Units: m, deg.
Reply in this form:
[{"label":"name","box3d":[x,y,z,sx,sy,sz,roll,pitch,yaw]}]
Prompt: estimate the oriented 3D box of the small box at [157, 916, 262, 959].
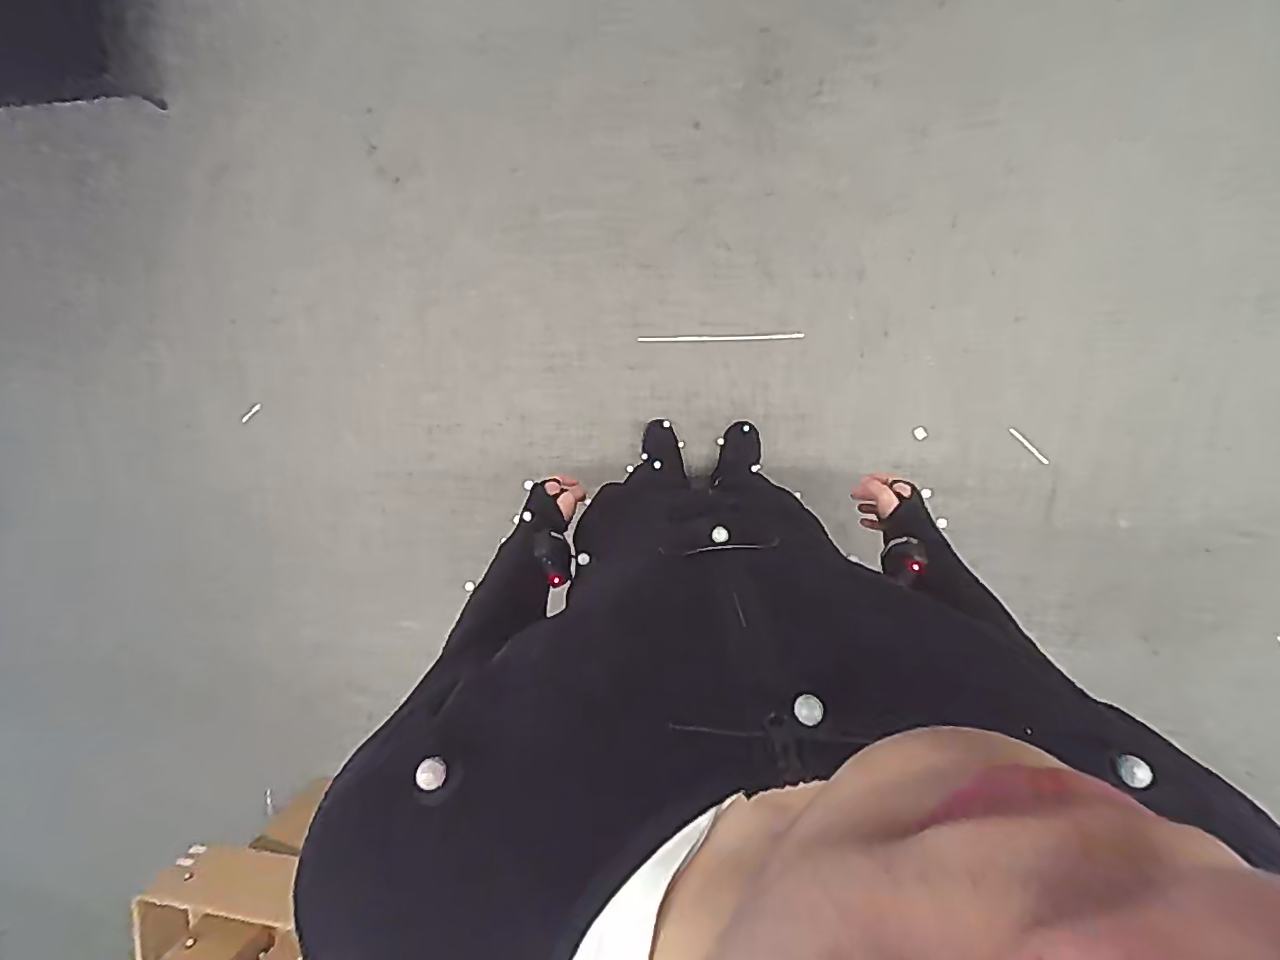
[{"label":"small box","box3d":[-1.134,1.291,1.413,0.179,0.176,0.168,3,96,5]}]
